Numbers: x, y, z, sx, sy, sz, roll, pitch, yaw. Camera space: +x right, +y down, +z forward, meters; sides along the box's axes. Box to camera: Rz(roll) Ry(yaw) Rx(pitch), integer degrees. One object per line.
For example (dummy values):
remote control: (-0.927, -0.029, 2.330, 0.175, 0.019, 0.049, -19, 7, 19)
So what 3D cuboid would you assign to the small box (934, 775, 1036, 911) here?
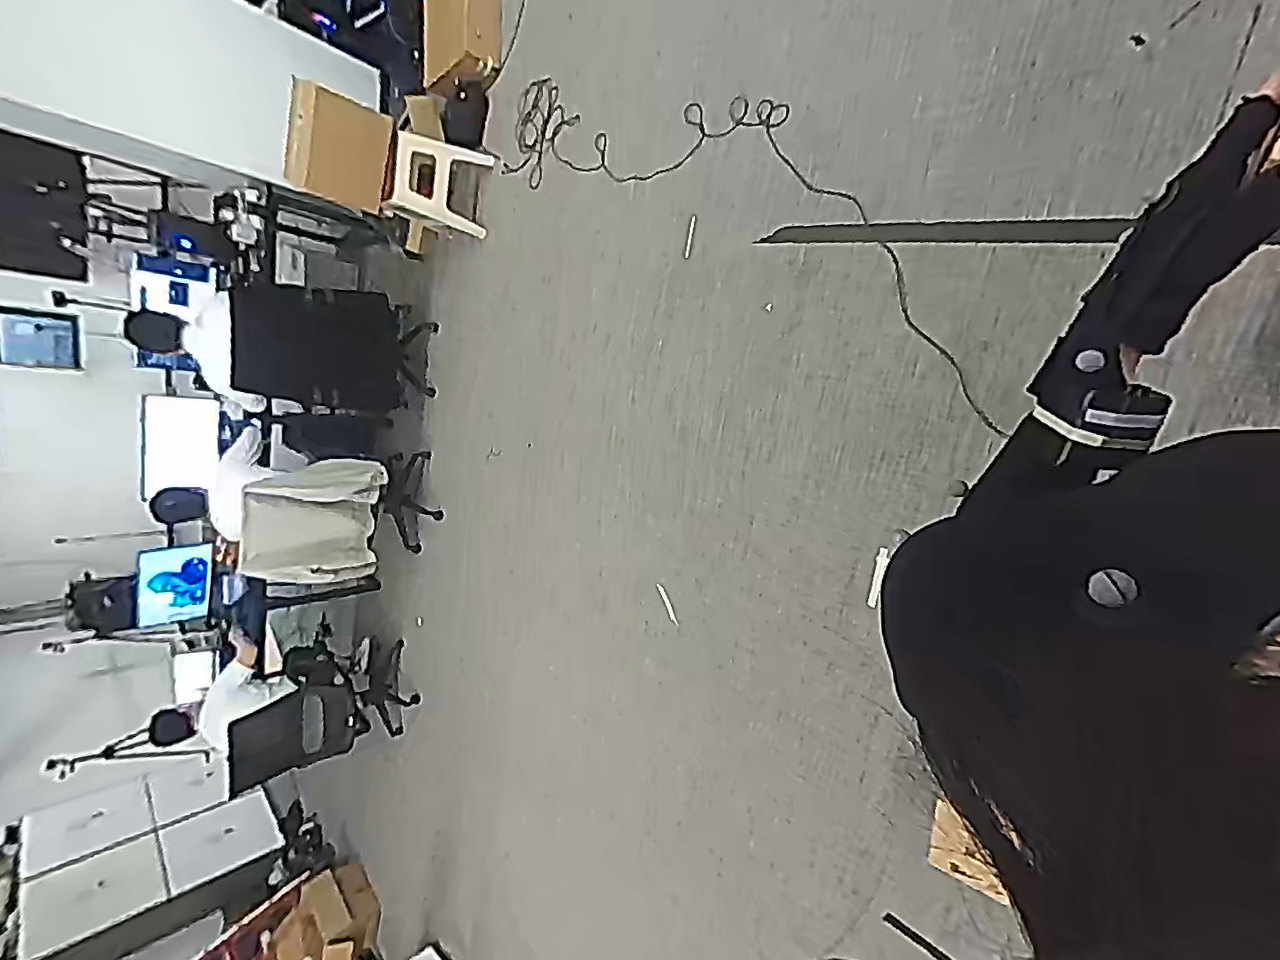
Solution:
small box: (0.820, 0.841, 1.278, 0.168, 0.176, 0.179, 11, 99, 42)
